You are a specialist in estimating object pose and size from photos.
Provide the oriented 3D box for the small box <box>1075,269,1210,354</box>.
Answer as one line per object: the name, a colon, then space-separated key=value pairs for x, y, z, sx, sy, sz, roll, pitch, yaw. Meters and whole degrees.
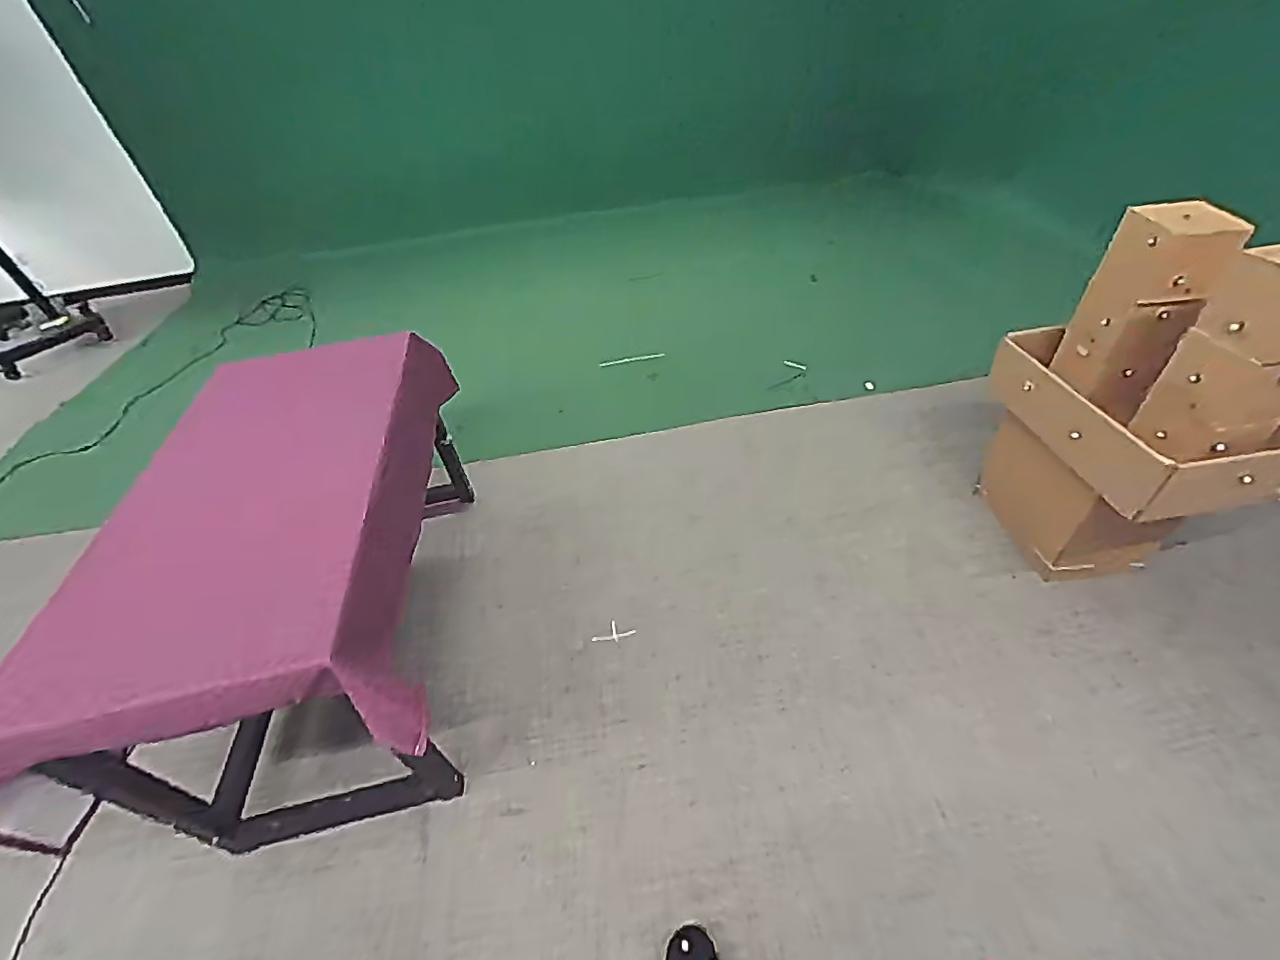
small box: x=1.285 y=-0.443 z=1.406 sx=0.179 sy=0.176 sz=0.168 roll=-5 pitch=44 yaw=3

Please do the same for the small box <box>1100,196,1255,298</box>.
small box: x=1.263 y=-0.556 z=1.291 sx=0.168 sy=0.176 sz=0.179 roll=-3 pitch=45 yaw=6

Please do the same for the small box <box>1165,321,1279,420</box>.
small box: x=1.321 y=-0.248 z=1.187 sx=0.179 sy=0.176 sz=0.168 roll=-9 pitch=43 yaw=0

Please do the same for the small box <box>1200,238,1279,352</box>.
small box: x=1.303 y=-0.367 z=1.074 sx=0.168 sy=0.176 sz=0.179 roll=-8 pitch=43 yaw=1
